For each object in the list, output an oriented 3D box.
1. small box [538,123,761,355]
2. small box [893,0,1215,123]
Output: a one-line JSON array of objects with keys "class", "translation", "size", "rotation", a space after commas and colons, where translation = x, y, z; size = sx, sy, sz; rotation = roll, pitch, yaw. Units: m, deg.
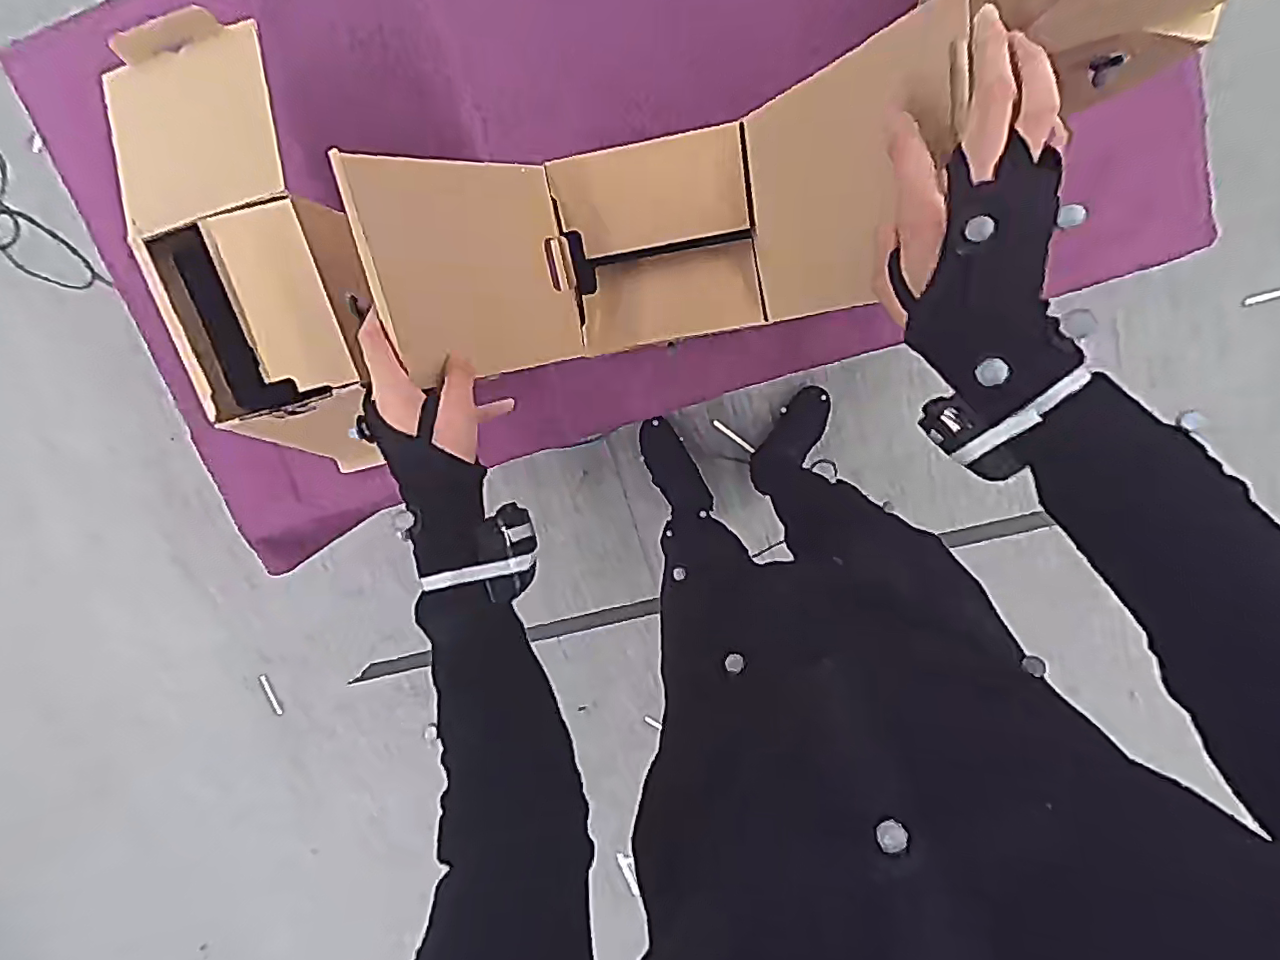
[{"class": "small box", "translation": [0.016, -0.222, 0.545], "size": [0.179, 0.176, 0.168], "rotation": [-9, 104, 5]}, {"class": "small box", "translation": [0.352, -0.435, 0.465], "size": [0.179, 0.176, 0.168], "rotation": [9, 105, 2]}]
